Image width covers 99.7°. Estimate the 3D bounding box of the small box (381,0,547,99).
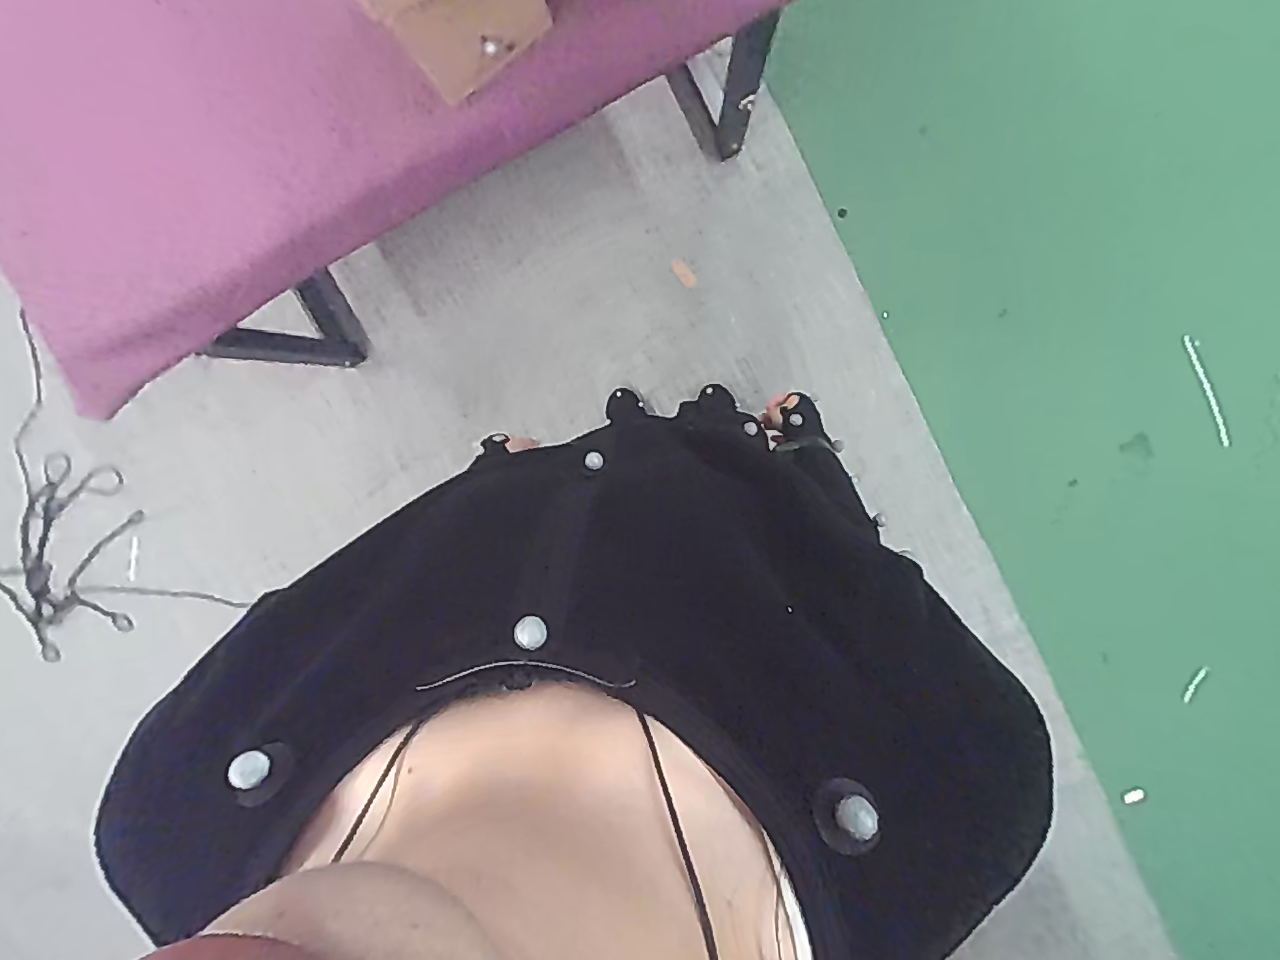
[{"bbox_3d":[-0.230,-0.586,0.602,0.168,0.176,0.179,-33,95,8],"label":"small box"}]
